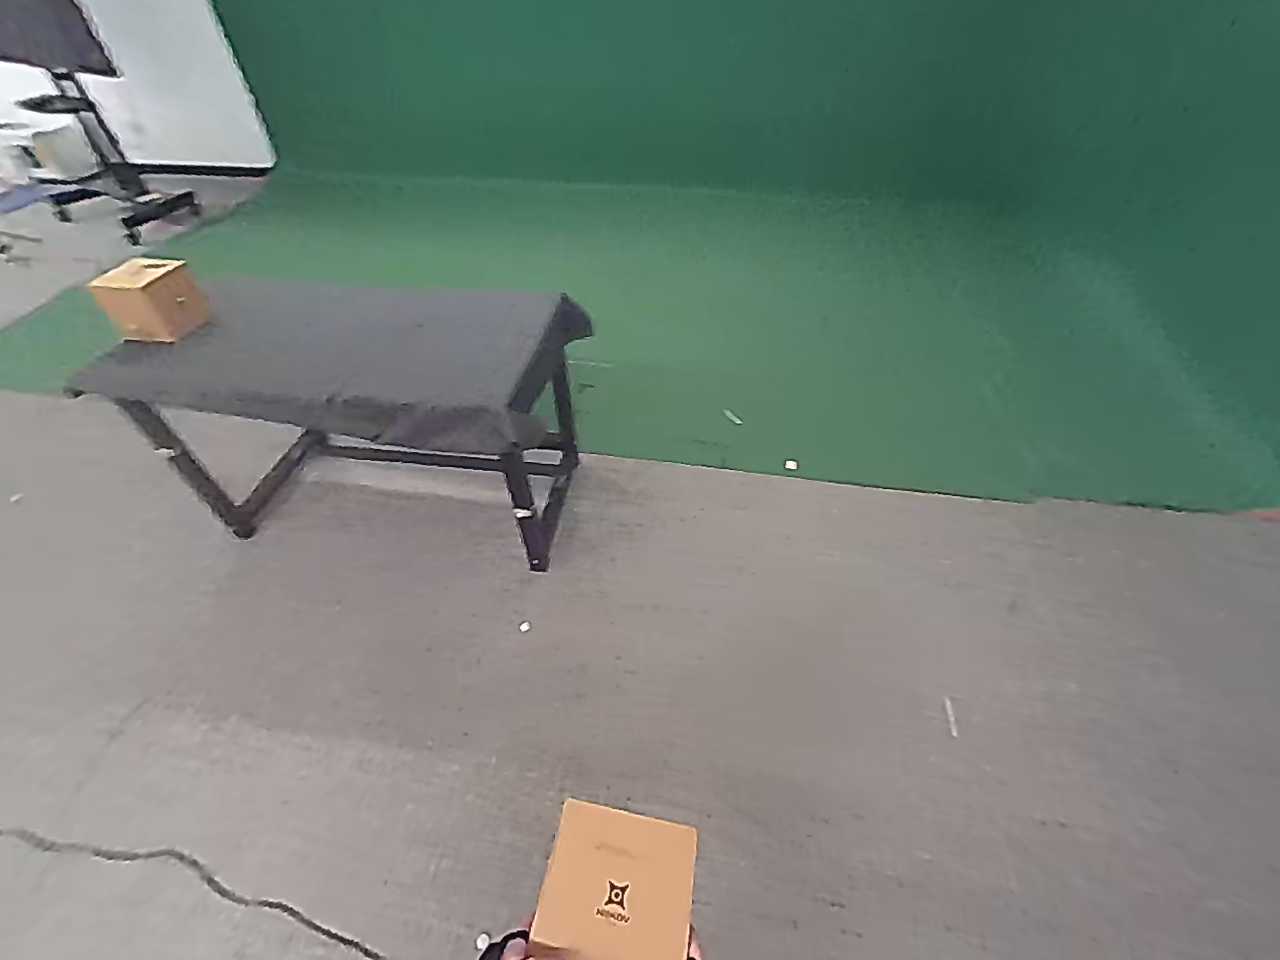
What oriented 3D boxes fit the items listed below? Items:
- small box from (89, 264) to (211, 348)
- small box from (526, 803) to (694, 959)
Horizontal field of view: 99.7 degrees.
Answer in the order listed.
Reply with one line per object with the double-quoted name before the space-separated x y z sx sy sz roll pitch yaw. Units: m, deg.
"small box" -1.404 -0.506 1.571 0.168 0.176 0.179 5 46 6
"small box" -0.035 0.526 0.645 0.168 0.176 0.179 11 38 2
